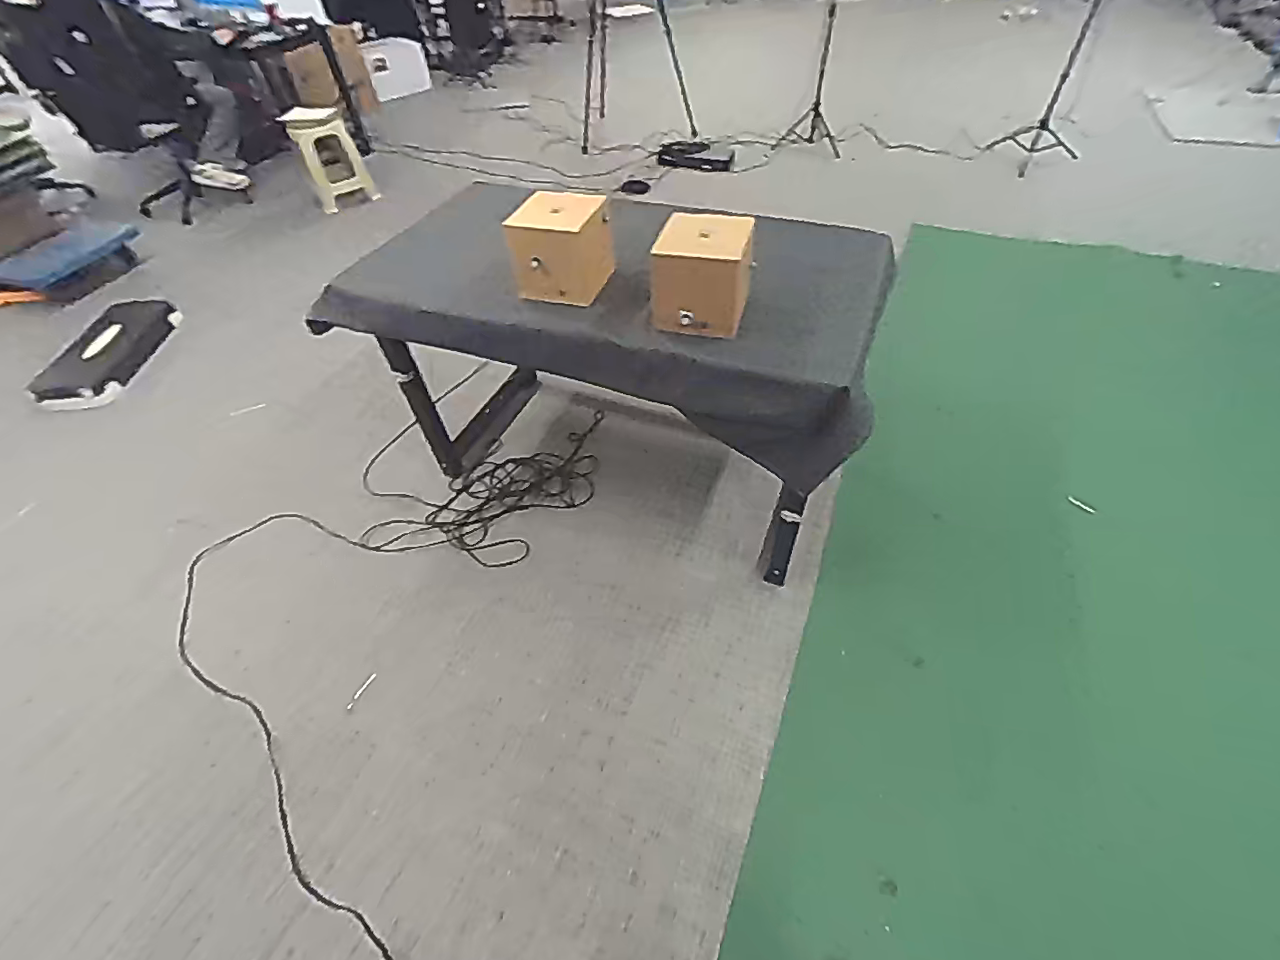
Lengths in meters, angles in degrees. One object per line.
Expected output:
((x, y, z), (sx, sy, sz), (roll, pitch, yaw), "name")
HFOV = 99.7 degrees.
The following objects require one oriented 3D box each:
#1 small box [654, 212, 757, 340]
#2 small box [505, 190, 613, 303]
((0.129, -0.404, 1.068), (0.168, 0.176, 0.179), (10, 51, 13), "small box")
((-0.163, -0.504, 1.171), (0.168, 0.176, 0.179), (12, 50, 13), "small box")
